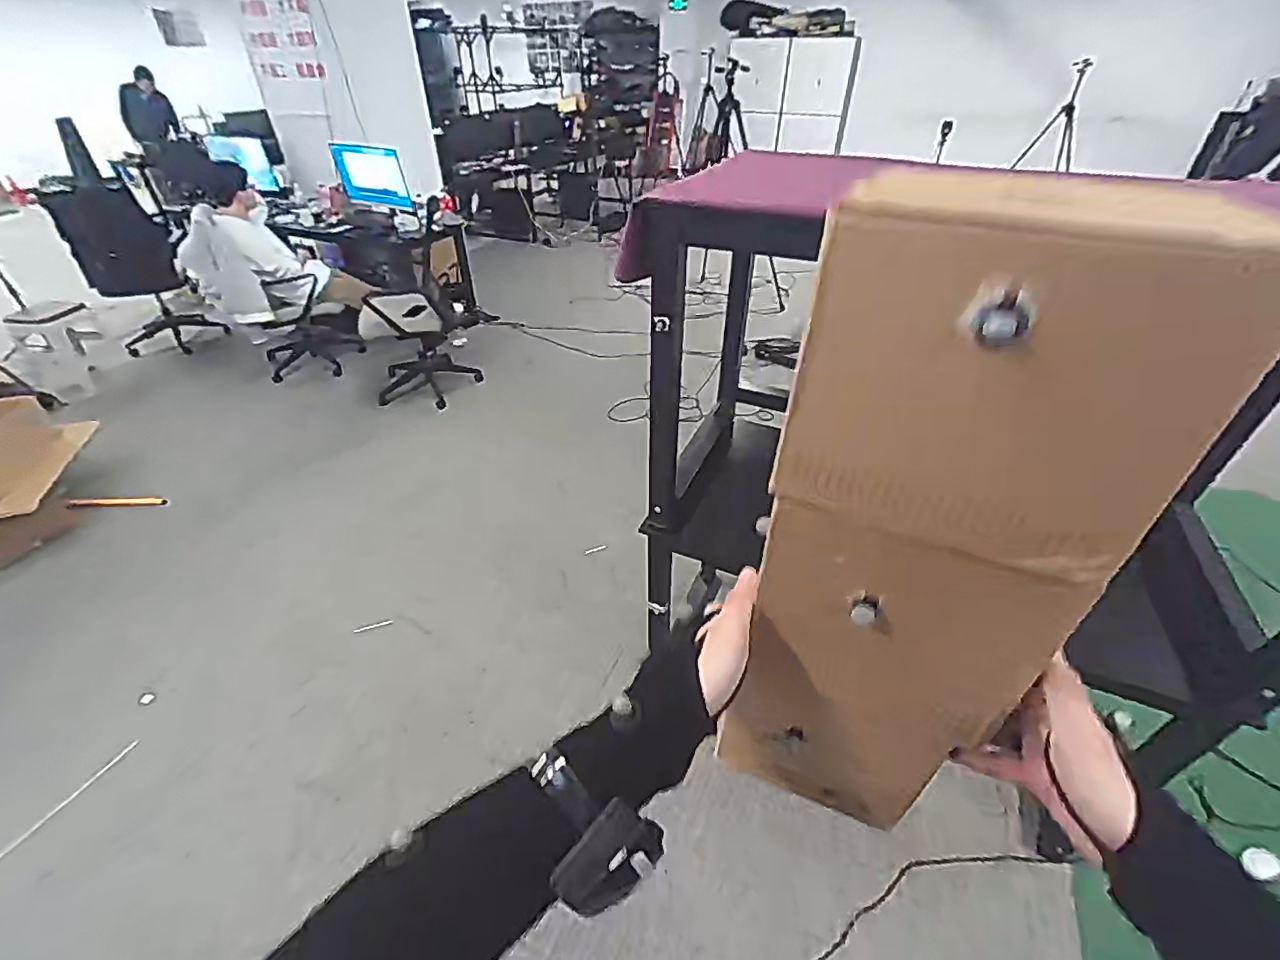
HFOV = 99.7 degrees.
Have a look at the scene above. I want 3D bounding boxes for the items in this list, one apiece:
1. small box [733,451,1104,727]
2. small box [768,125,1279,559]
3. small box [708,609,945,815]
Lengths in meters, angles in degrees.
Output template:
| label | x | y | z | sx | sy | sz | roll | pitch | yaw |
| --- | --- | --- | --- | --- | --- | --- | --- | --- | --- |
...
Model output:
| label | x | y | z | sx | sy | sz | roll | pitch | yaw |
| --- | --- | --- | --- | --- | --- | --- | --- | --- | --- |
| small box | 0.179 | 0.043 | 0.395 | 0.179 | 0.176 | 0.168 | 18 | 39 | 19 |
| small box | 0.186 | -0.085 | 0.294 | 0.179 | 0.176 | 0.168 | 21 | 40 | 22 |
| small box | 0.168 | 0.167 | 0.504 | 0.168 | 0.176 | 0.179 | 17 | 38 | 16 |
